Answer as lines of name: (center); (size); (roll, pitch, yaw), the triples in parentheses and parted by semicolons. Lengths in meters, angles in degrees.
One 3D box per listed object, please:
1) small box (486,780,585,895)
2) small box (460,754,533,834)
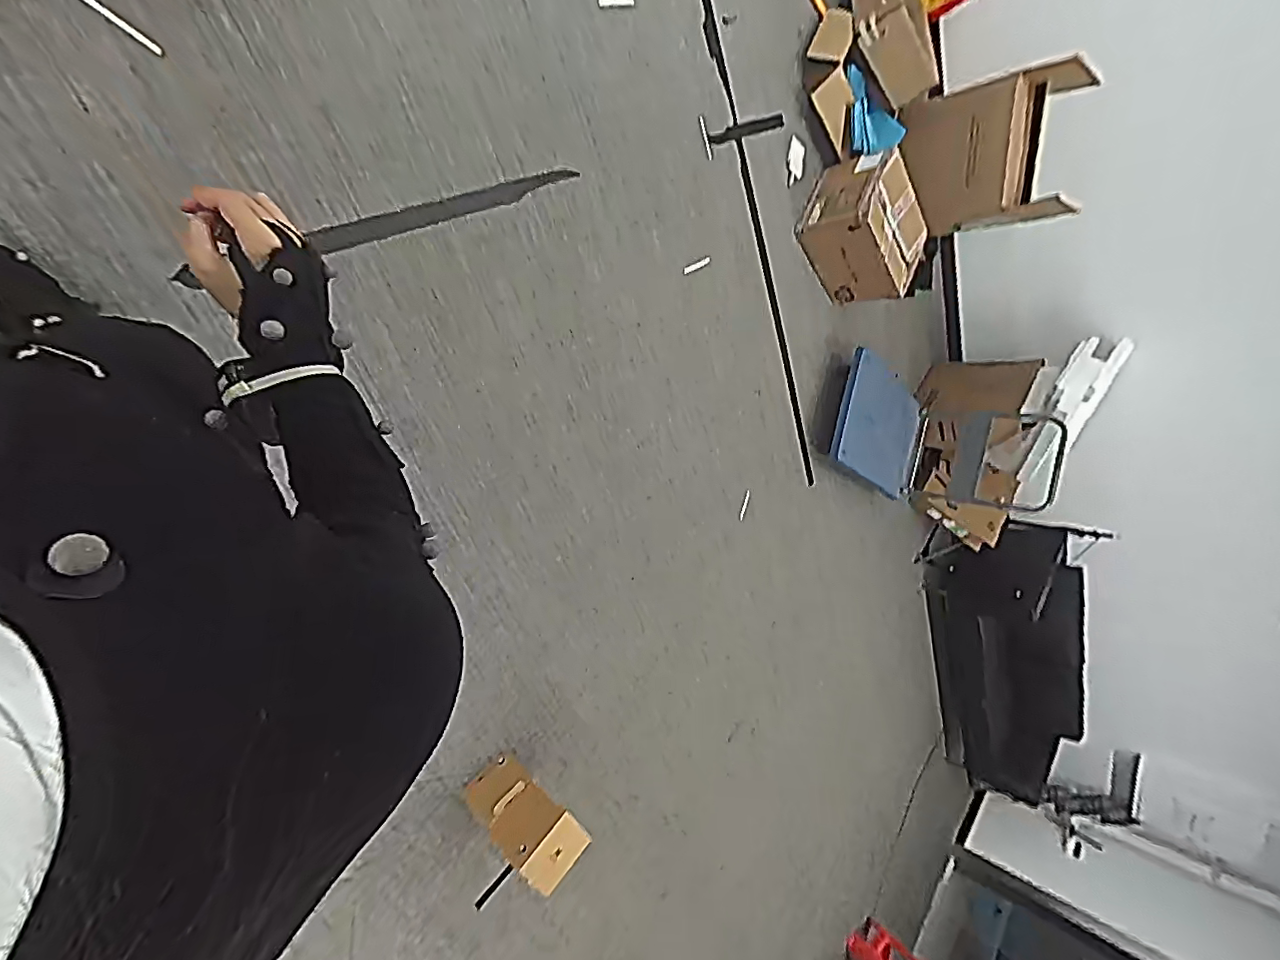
small box: (-0.290, 0.979, 1.496); (0.179, 0.176, 0.168); (-43, 124, -30)
small box: (-0.406, 0.953, 1.607); (0.168, 0.176, 0.179); (-36, 121, -34)
